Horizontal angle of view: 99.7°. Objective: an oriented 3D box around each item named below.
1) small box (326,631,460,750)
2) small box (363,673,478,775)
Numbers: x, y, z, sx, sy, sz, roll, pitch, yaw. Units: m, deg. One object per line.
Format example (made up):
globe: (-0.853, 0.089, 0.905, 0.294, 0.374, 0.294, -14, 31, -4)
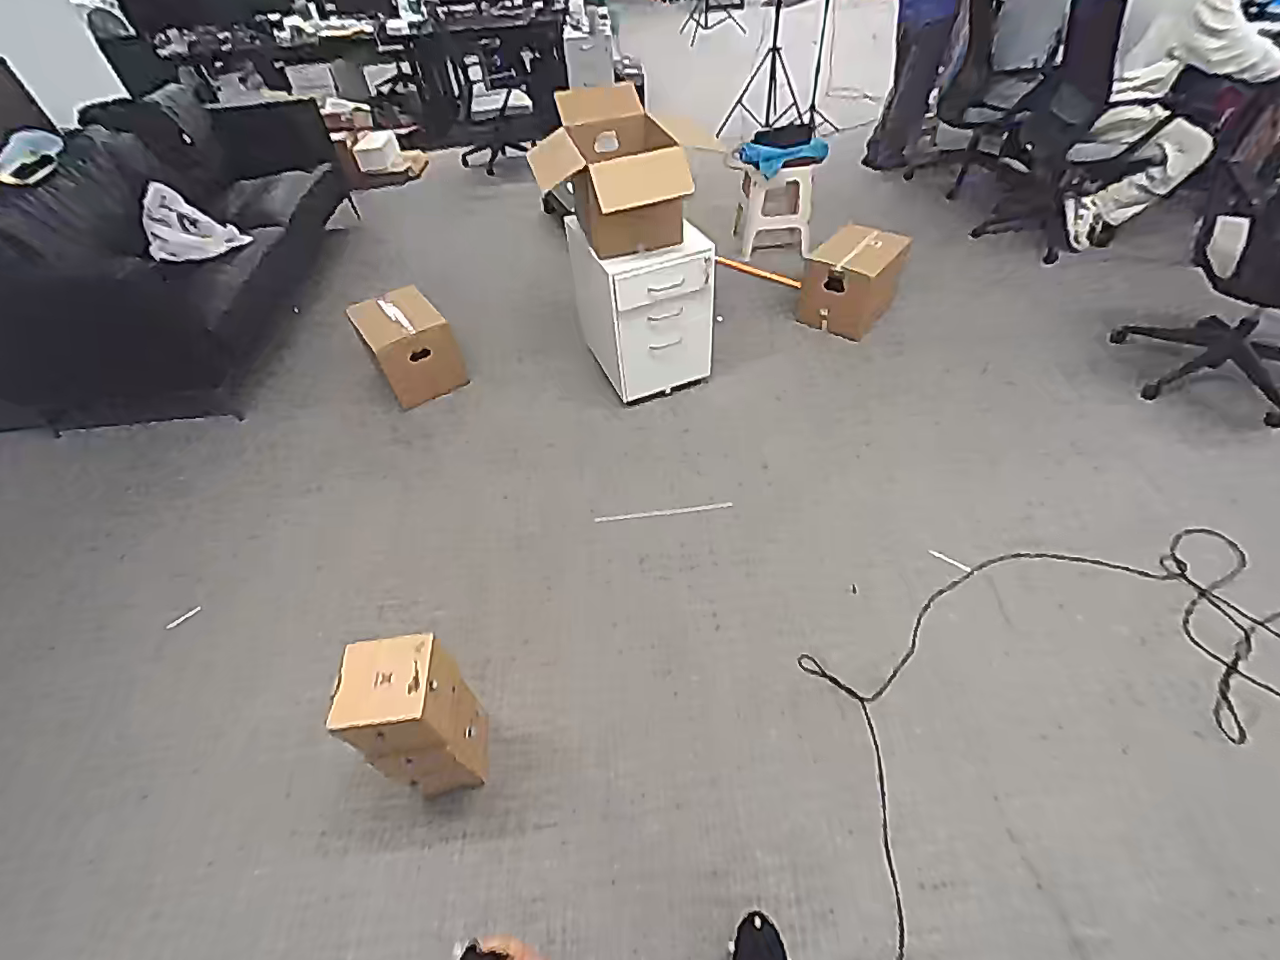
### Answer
small box: (-0.483, 0.427, 1.089, 0.179, 0.176, 0.168, -7, 49, -1)
small box: (-0.478, 0.542, 1.206, 0.179, 0.176, 0.168, -6, 49, -2)
